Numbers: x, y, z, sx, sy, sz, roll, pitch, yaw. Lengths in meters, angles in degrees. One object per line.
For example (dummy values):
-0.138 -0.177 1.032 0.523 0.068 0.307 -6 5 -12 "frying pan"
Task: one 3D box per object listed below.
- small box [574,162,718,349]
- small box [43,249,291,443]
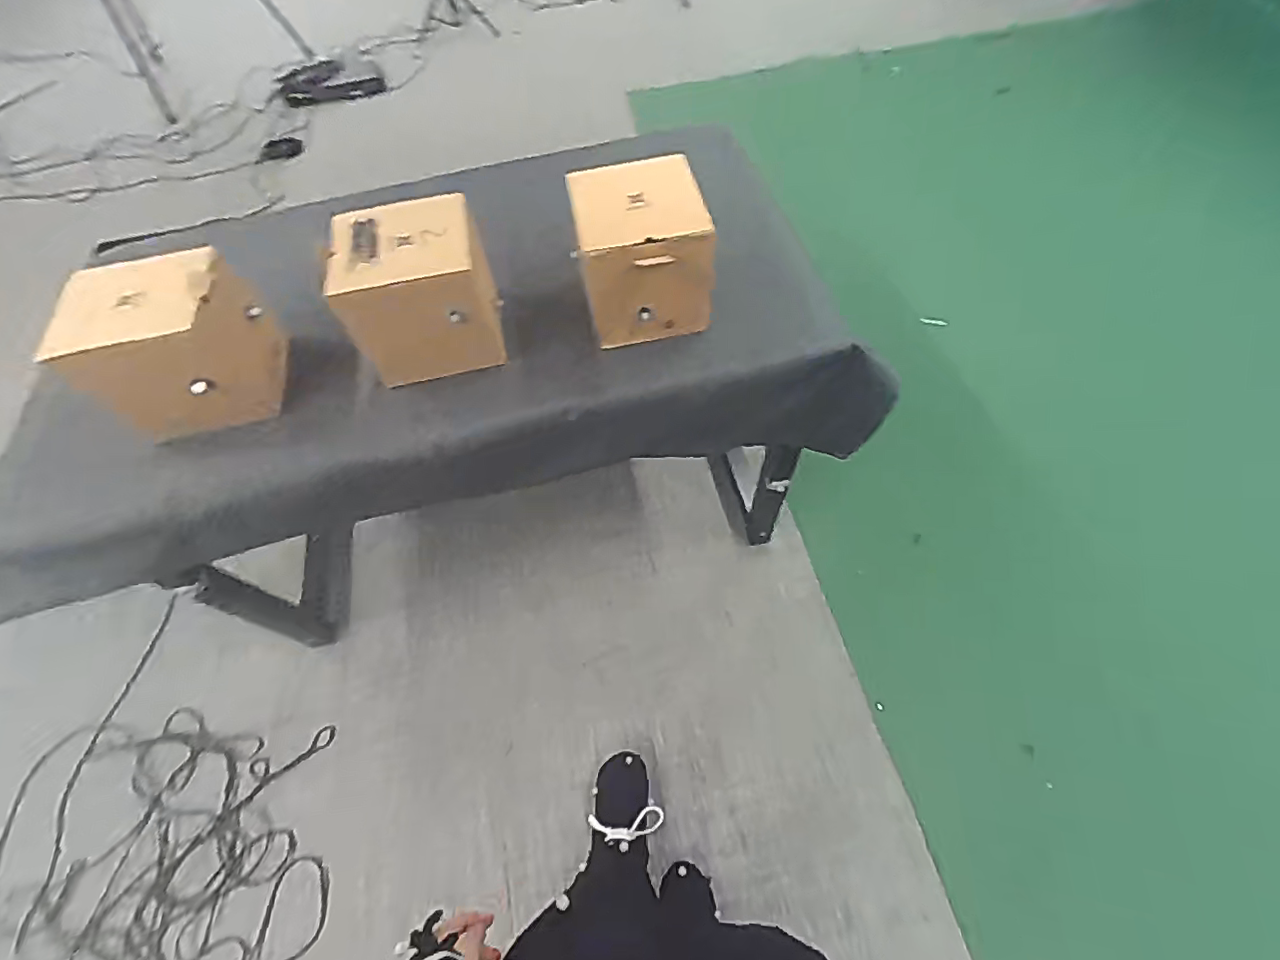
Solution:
0.006 -0.317 0.777 0.168 0.176 0.179 -11 60 -3 "small box"
-0.610 -0.175 0.731 0.179 0.176 0.168 -14 58 -4 "small box"
